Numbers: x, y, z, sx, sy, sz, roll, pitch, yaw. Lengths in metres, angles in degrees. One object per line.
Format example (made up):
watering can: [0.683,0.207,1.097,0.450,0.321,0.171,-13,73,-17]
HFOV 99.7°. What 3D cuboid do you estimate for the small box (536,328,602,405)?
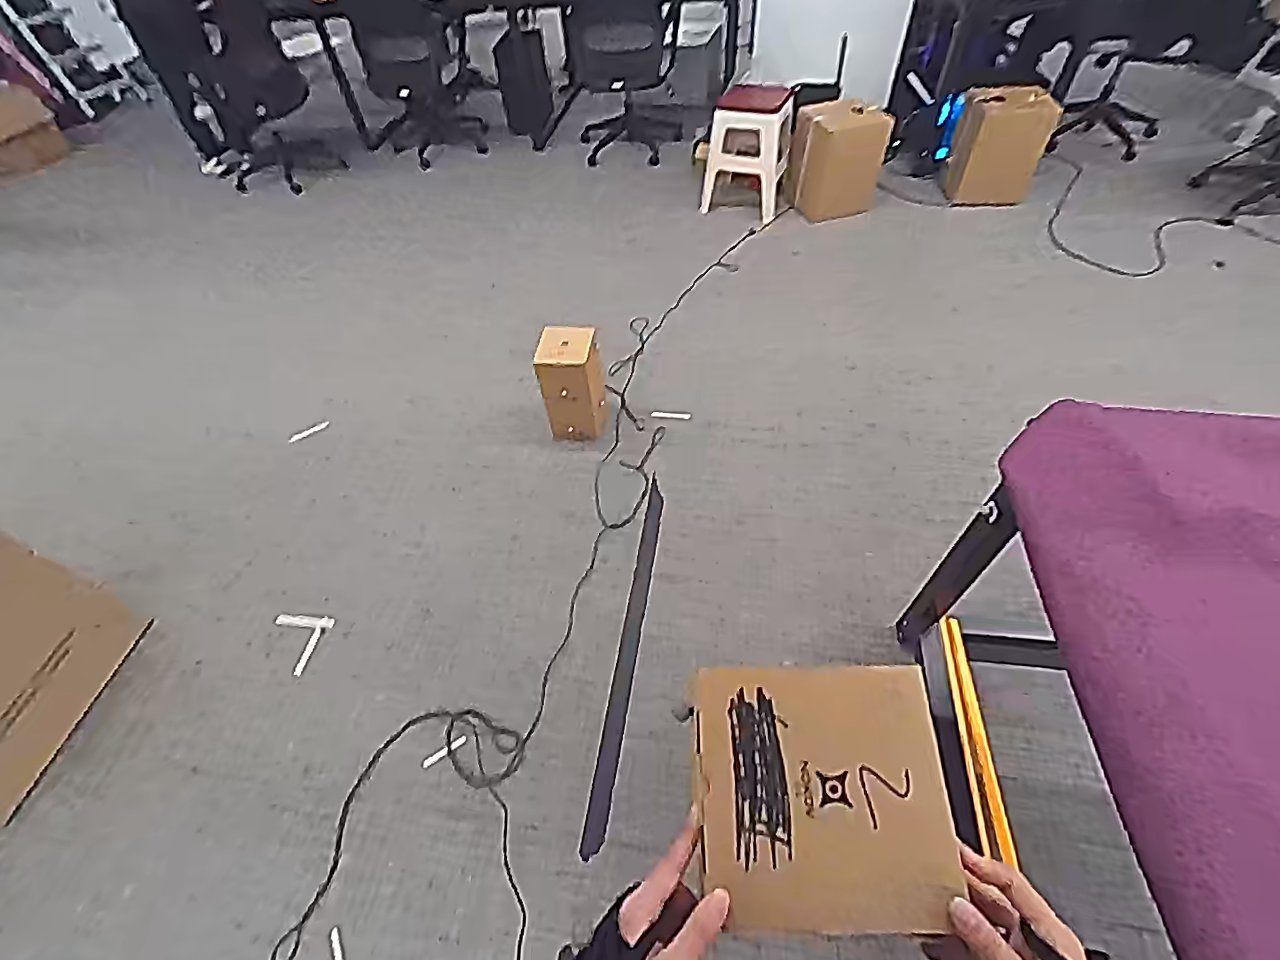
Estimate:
small box: [-0.219,-0.365,1.731,0.168,0.176,0.179,3,53,8]

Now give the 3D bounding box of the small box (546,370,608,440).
small box: [-0.209,-0.263,1.861,0.168,0.176,0.179,5,53,8]
